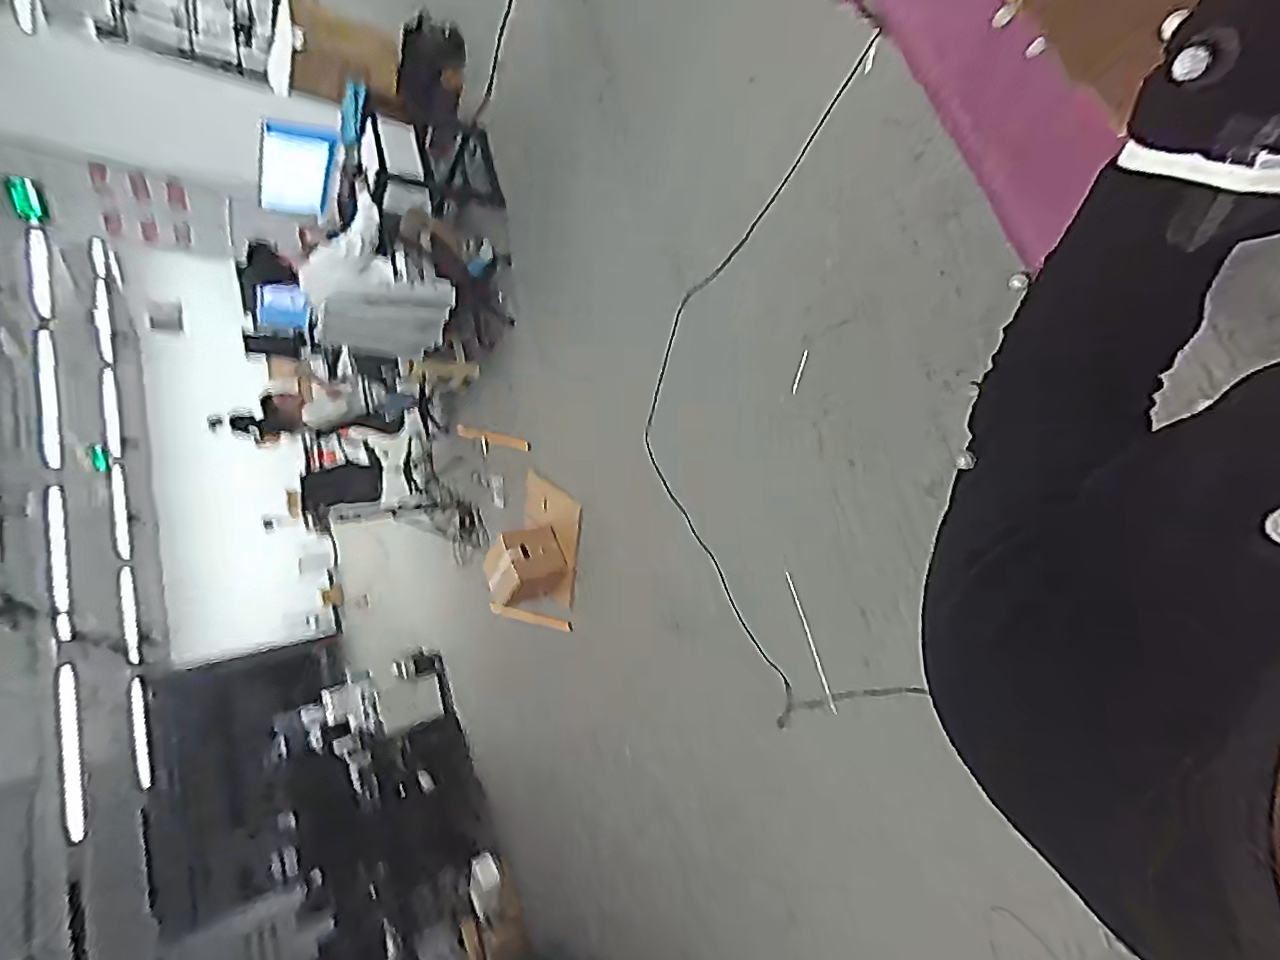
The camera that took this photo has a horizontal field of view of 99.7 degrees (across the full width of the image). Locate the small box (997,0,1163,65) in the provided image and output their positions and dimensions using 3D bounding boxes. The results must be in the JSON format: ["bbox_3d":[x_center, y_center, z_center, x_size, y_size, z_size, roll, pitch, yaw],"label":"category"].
[{"bbox_3d":[0.353,-0.465,0.411,0.168,0.176,0.179,-36,67,48],"label":"small box"}]

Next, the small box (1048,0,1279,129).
[{"bbox_3d":[0.487,-0.478,0.507,0.179,0.176,0.168,-36,67,48],"label":"small box"}]
